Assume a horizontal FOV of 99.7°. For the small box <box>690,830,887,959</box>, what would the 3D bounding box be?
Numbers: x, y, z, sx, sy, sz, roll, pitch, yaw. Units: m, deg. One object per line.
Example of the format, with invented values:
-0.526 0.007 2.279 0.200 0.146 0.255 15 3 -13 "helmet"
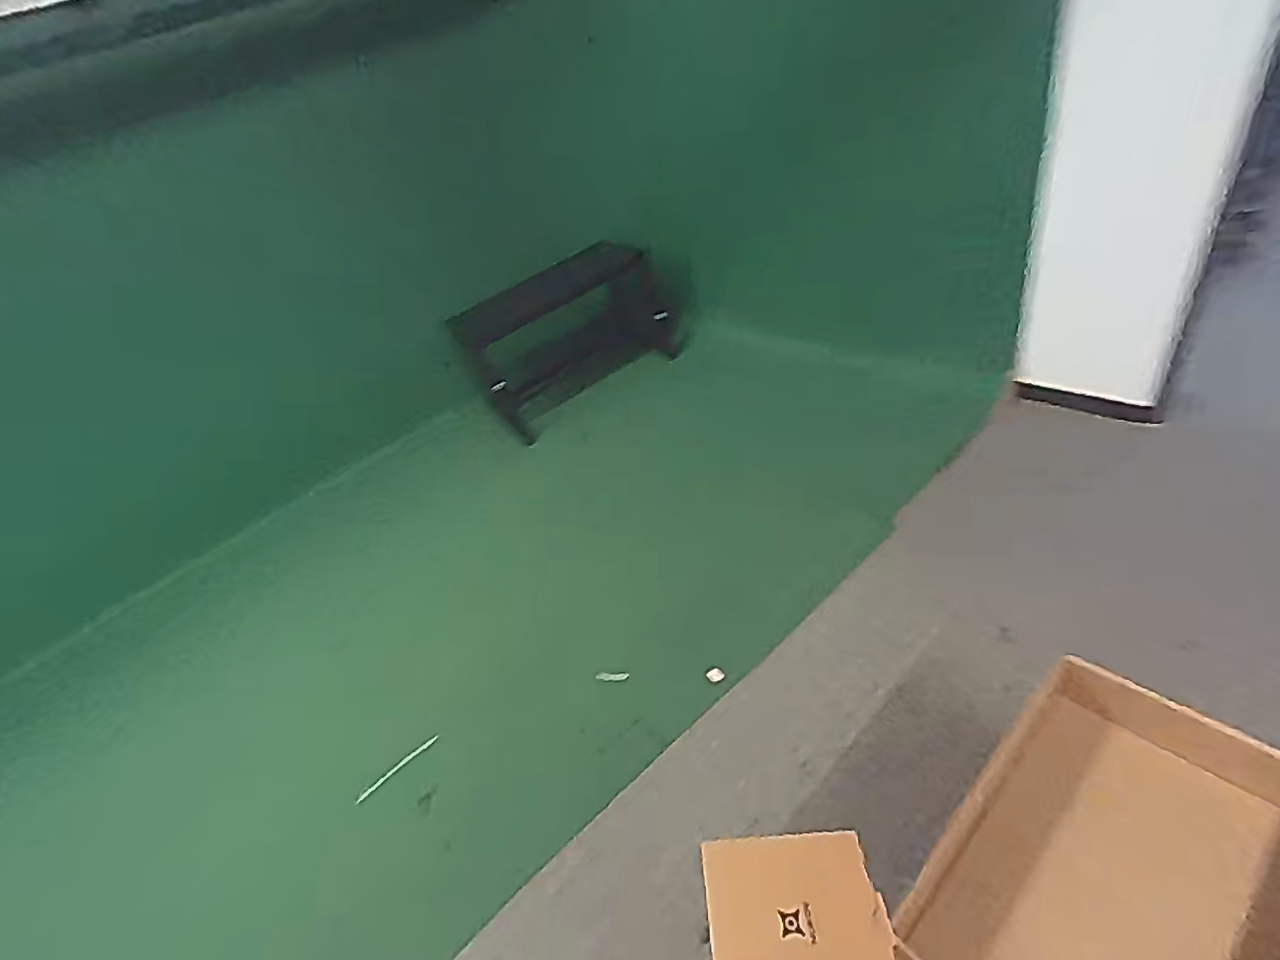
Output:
0.154 0.510 0.574 0.179 0.176 0.168 -6 29 2 "small box"
